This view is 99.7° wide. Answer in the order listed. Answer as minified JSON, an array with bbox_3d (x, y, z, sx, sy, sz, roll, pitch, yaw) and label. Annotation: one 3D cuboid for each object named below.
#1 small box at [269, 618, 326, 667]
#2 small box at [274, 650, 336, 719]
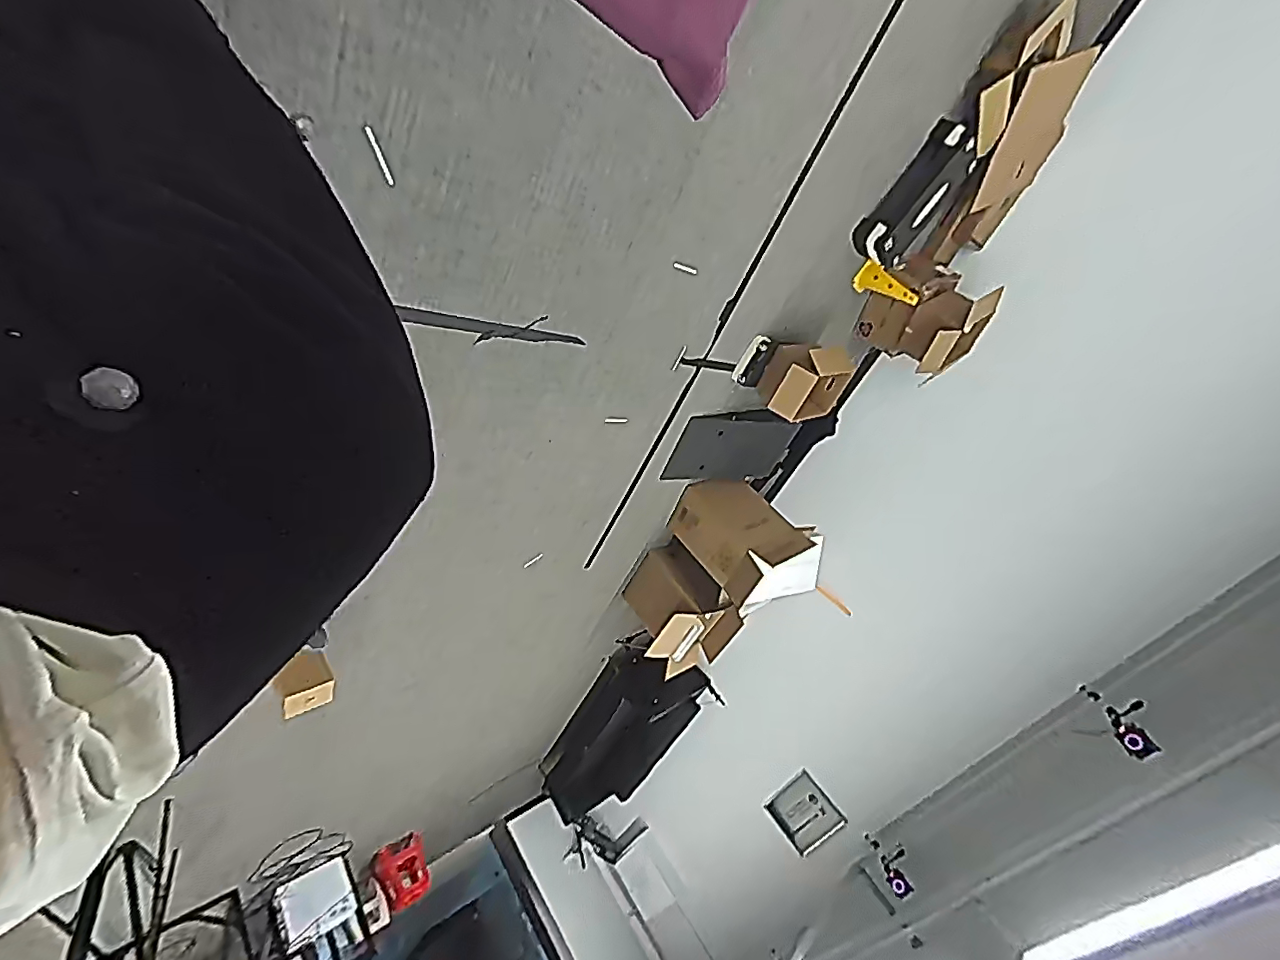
[{"bbox_3d":[-1.454,0.718,2.288,0.168,0.176,0.179,-11,138,-44],"label":"small box"},{"bbox_3d":[-1.366,0.827,2.202,0.179,0.176,0.168,-13,139,-44],"label":"small box"}]
